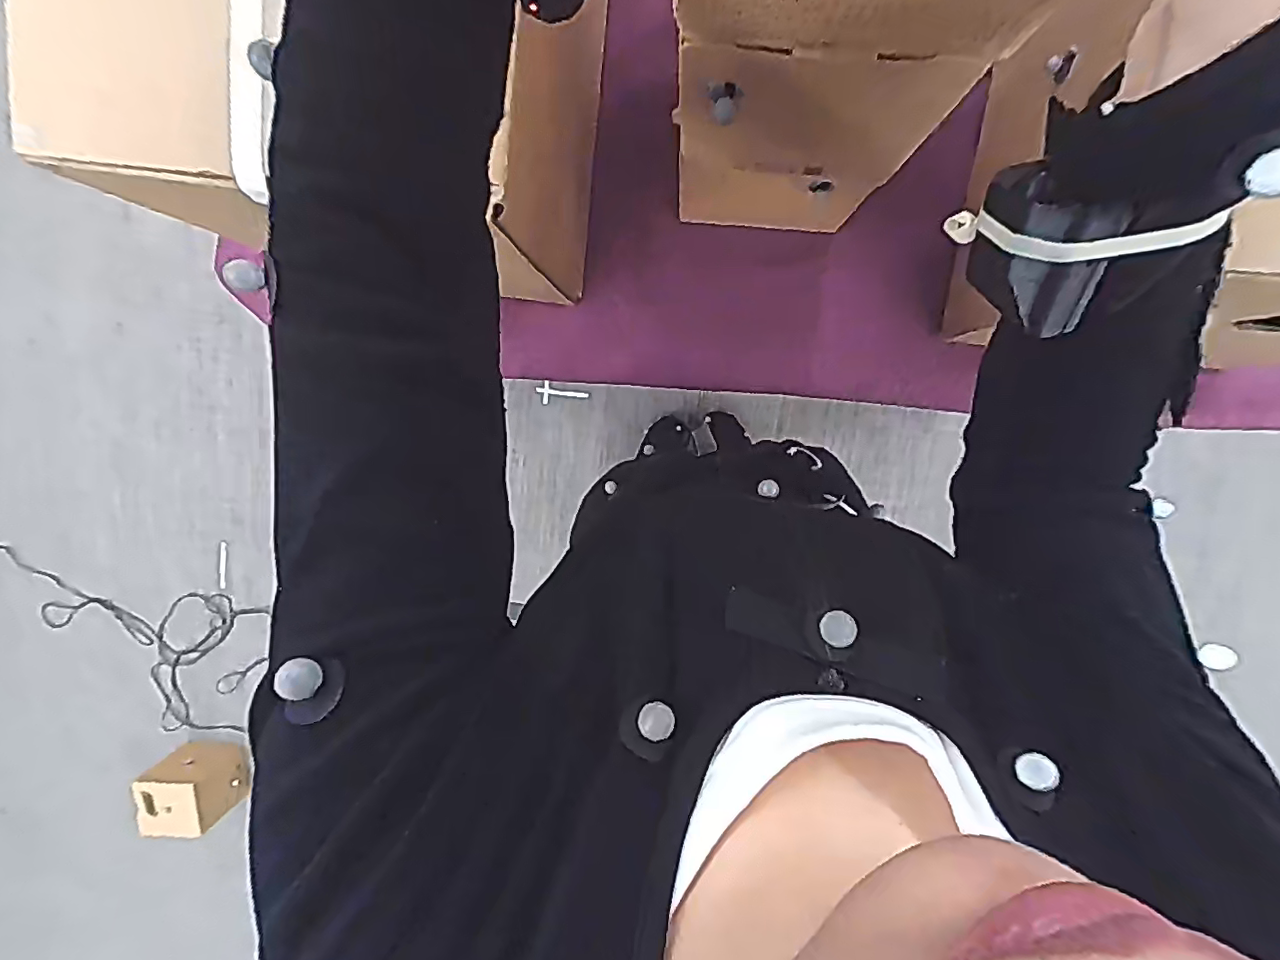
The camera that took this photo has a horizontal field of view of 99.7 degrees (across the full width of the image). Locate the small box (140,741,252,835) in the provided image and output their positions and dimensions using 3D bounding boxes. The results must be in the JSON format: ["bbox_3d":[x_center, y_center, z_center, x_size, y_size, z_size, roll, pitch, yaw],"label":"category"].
[{"bbox_3d":[-1.258,0.870,1.541,0.179,0.176,0.168,1,99,4],"label":"small box"}]

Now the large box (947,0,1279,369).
[{"bbox_3d":[0.490,-0.311,0.418,0.320,0.320,0.408,7,97,3],"label":"large box"}]

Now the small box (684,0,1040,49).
[{"bbox_3d":[0.111,-0.296,0.191,0.179,0.176,0.168,9,99,4],"label":"small box"}]
